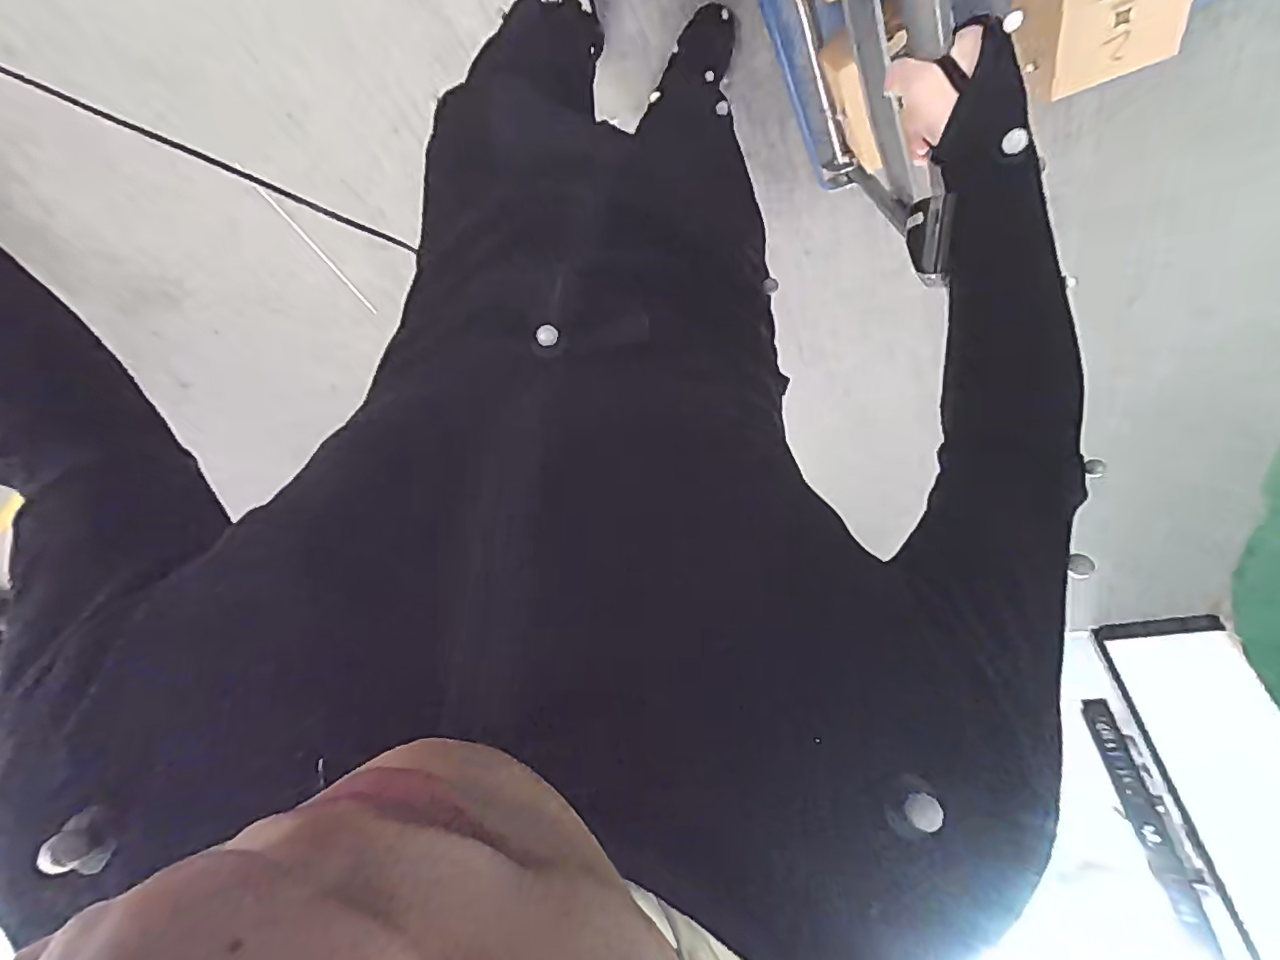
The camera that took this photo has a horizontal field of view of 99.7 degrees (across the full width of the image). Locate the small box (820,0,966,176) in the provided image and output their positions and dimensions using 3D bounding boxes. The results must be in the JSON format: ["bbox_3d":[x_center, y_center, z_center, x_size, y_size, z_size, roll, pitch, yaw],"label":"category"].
[{"bbox_3d":[0.417,-0.662,0.908,0.168,0.176,0.179,-21,134,25],"label":"small box"}]
